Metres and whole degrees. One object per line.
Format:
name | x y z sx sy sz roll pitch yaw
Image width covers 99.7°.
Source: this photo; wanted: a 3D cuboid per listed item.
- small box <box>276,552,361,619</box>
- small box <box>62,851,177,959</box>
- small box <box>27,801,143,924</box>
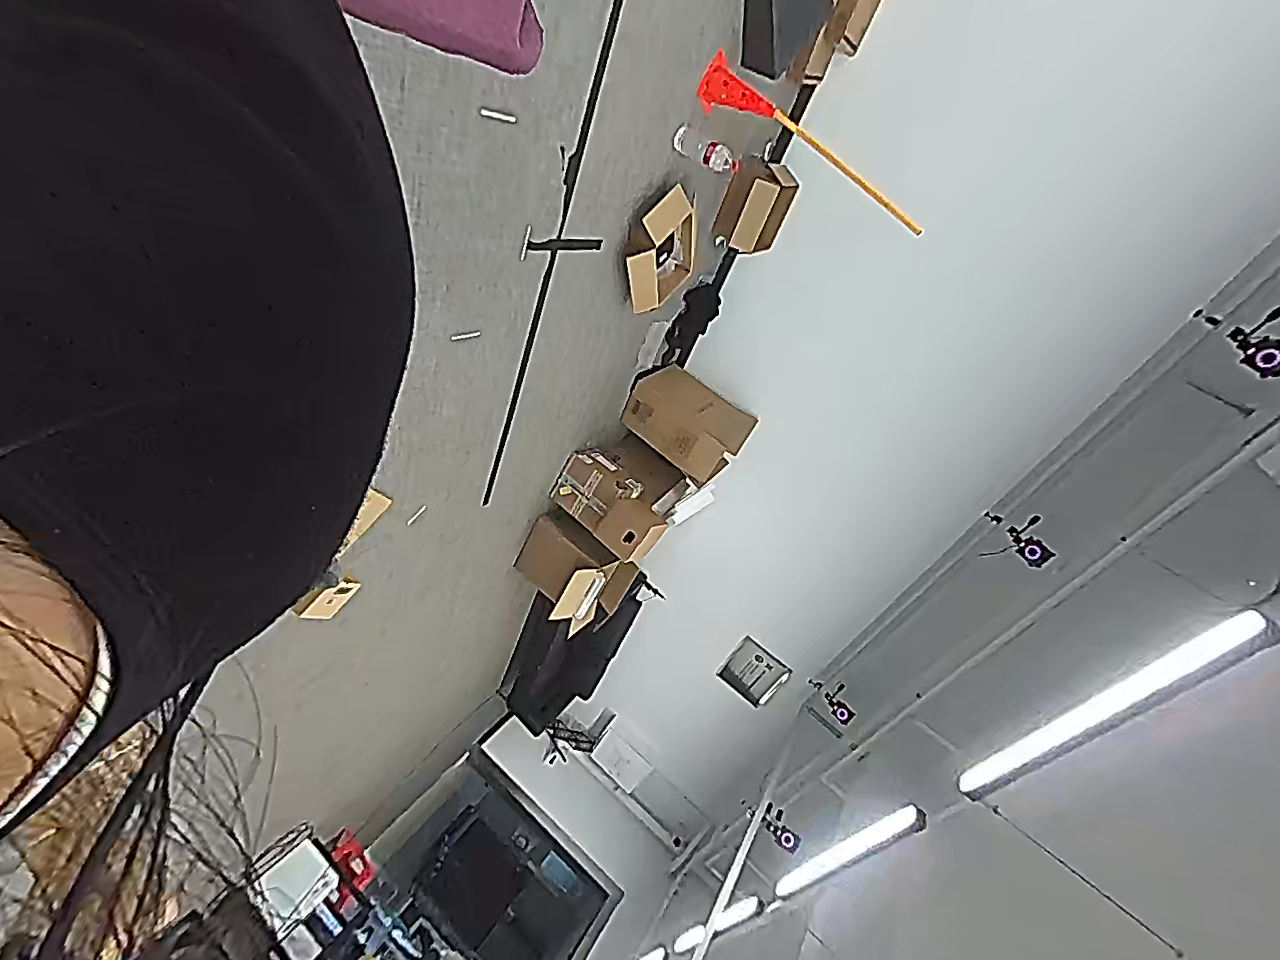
small box | -1.194 0.391 2.004 0.179 0.176 0.168 -48 164 -9
small box | -1.348 1.117 1.405 0.168 0.176 0.179 -31 154 -56
small box | -1.470 1.011 1.437 0.179 0.176 0.168 -33 157 -54
